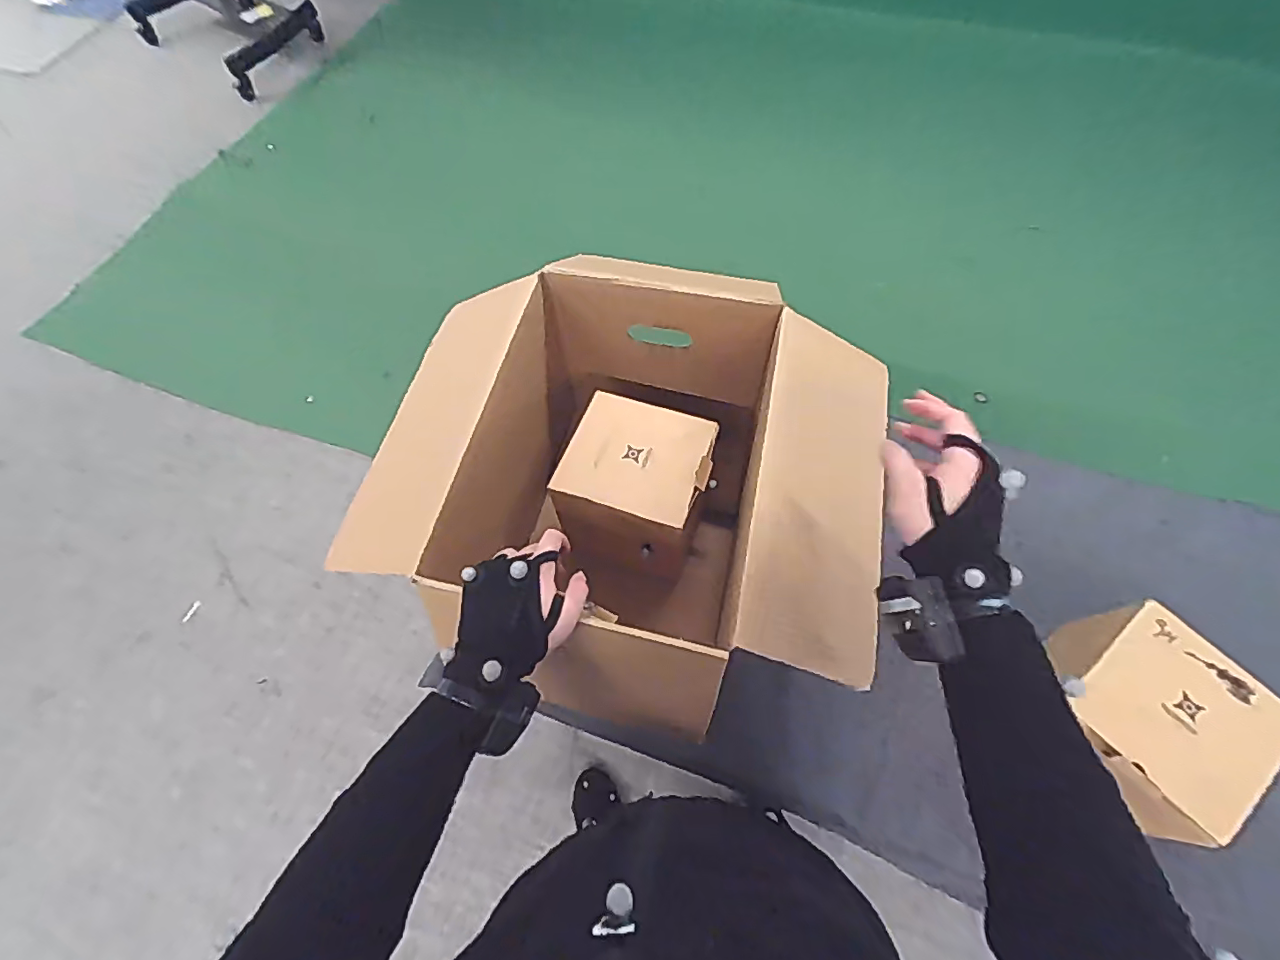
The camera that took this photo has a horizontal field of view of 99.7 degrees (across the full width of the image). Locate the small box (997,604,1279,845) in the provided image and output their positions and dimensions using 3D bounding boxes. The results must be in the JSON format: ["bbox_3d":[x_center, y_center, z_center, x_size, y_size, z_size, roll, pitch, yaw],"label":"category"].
[{"bbox_3d":[0.562,0.278,0.628,0.179,0.176,0.168,-36,67,-13],"label":"small box"}]
